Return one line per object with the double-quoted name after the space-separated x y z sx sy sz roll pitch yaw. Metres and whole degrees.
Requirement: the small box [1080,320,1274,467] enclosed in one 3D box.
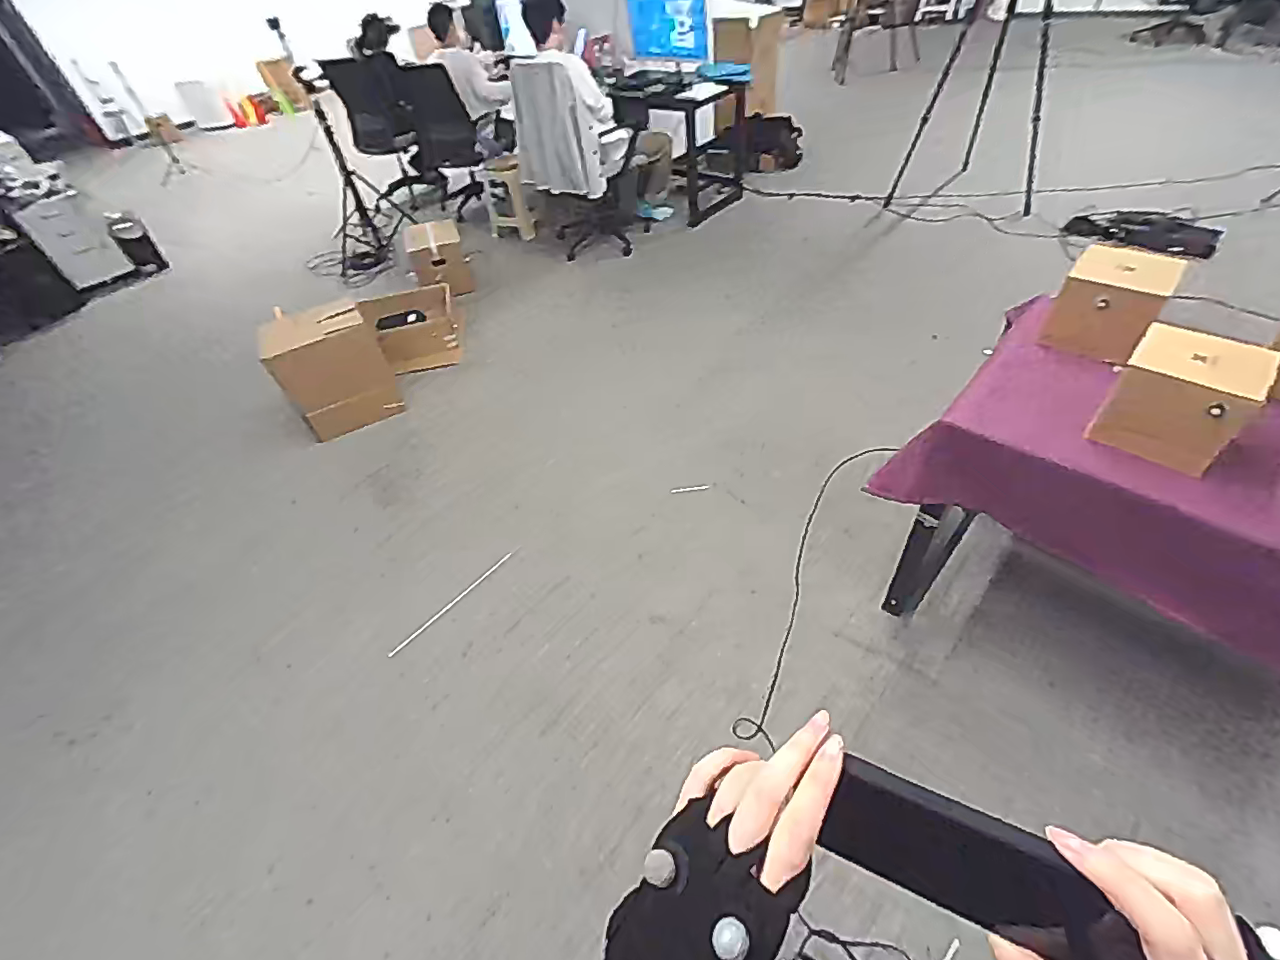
0.936 -0.152 0.959 0.179 0.176 0.168 33 59 32 "small box"
